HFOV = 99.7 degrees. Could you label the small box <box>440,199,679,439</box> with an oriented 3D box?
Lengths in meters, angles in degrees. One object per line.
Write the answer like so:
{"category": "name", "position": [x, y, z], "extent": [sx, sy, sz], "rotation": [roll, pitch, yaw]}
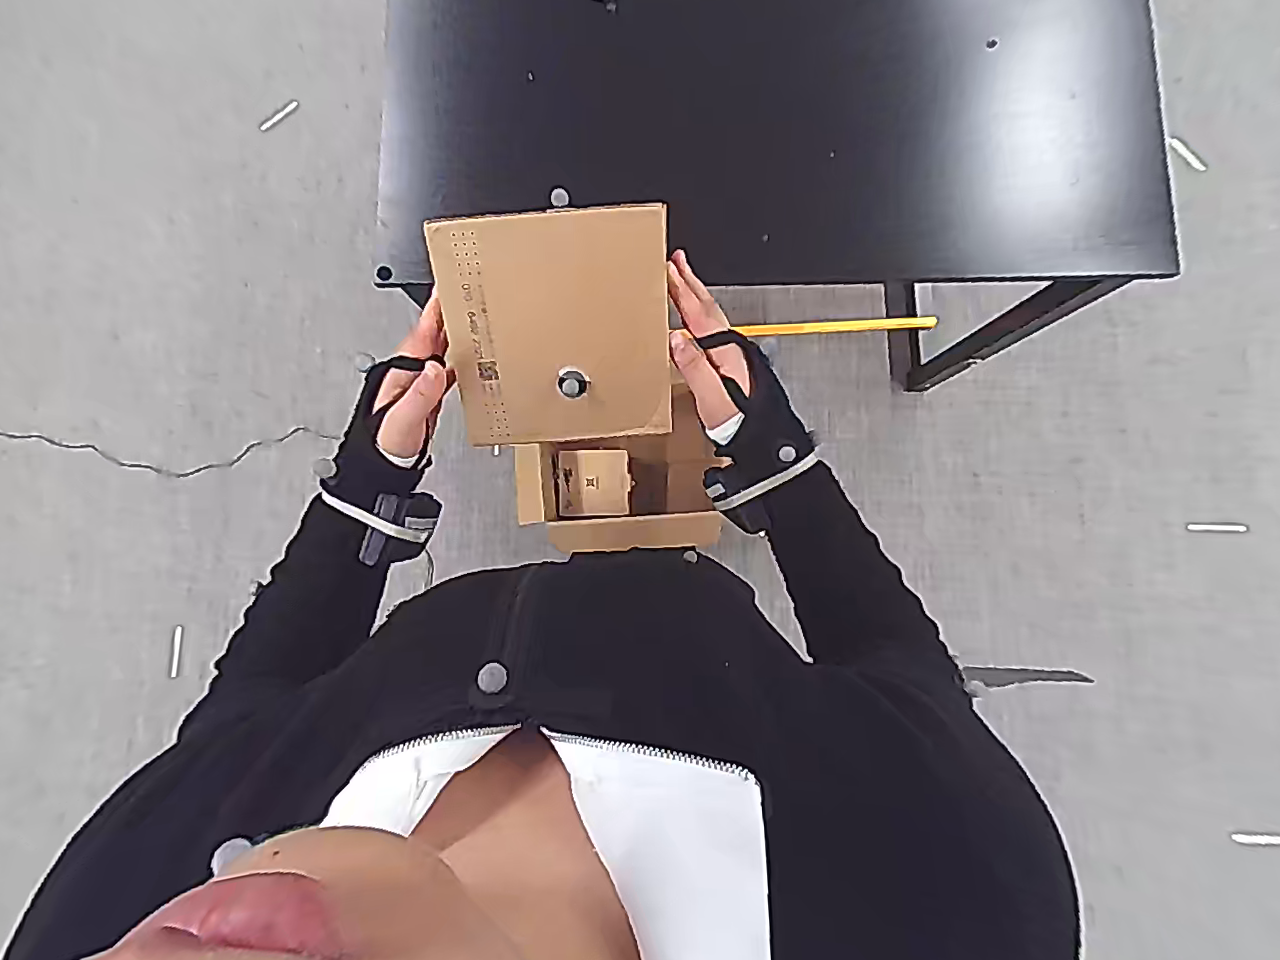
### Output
{"category": "small box", "position": [-0.059, -0.141, 0.466], "extent": [0.176, 0.179, 0.168], "rotation": [-3, 115, 0]}
